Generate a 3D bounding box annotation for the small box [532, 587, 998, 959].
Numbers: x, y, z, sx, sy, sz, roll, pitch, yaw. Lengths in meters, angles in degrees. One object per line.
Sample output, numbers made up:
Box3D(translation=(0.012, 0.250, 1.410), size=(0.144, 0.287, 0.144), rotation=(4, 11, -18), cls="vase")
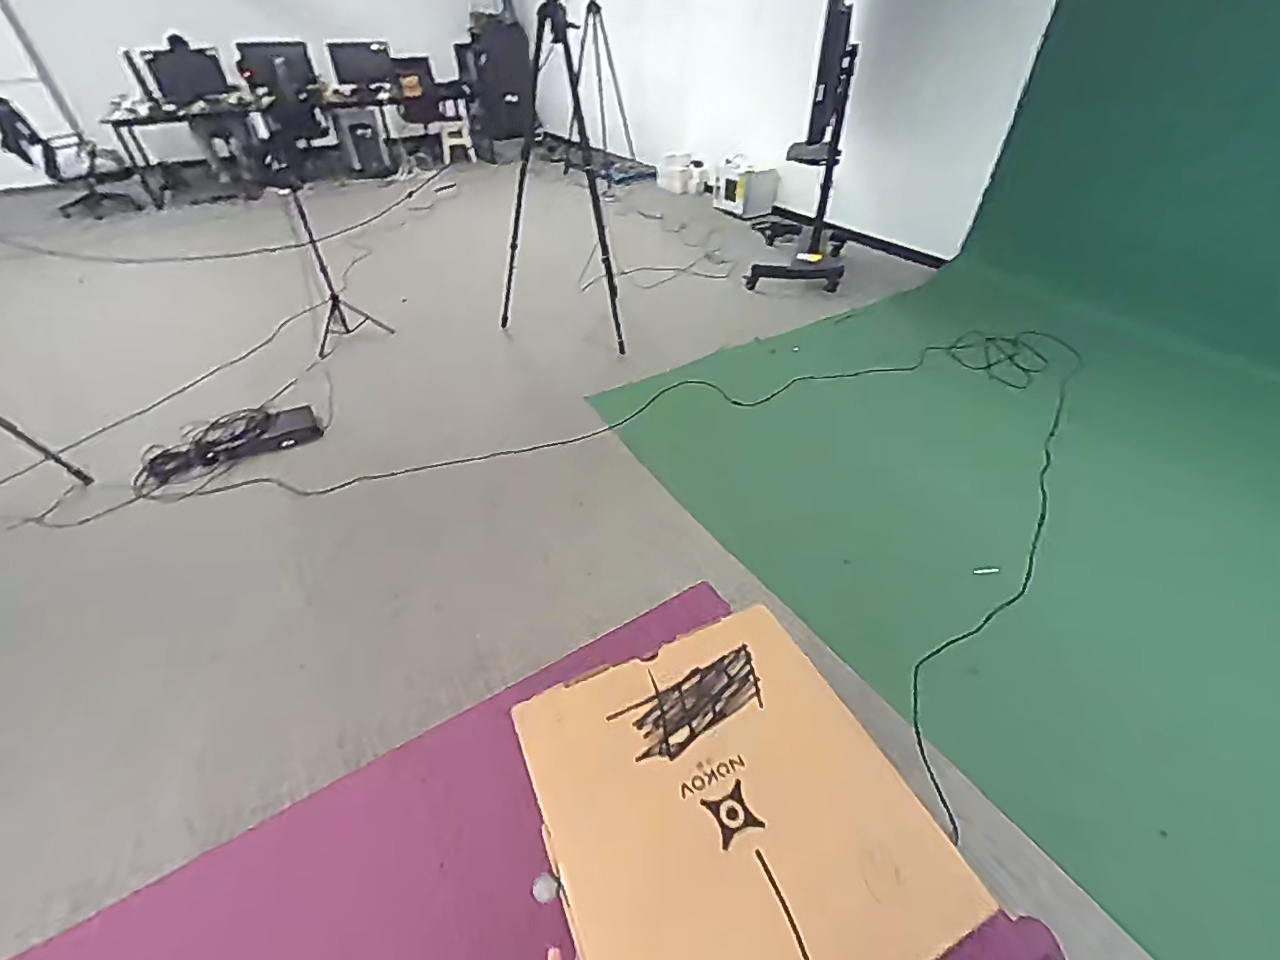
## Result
Box3D(translation=(0.046, 0.201, 0.317), size=(0.168, 0.176, 0.179), rotation=(-17, 45, -18), cls="small box")
